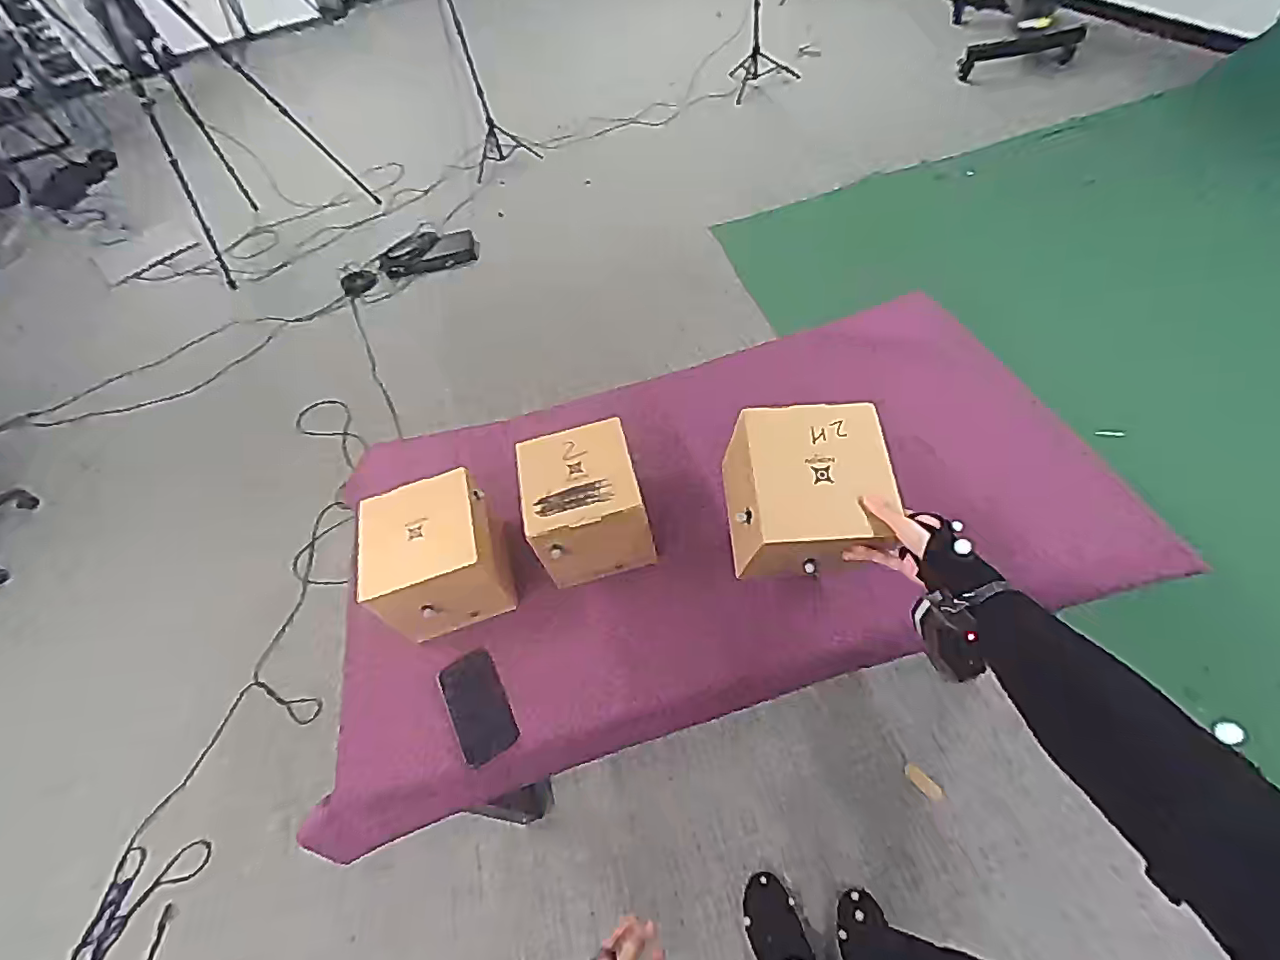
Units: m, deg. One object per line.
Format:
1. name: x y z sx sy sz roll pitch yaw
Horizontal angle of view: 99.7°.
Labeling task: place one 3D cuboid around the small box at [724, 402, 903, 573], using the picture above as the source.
1. small box: 0.208 0.018 0.703 0.168 0.176 0.179 -2 65 -2

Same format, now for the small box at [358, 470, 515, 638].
1. small box: -0.302 0.121 0.822 0.168 0.176 0.179 -19 52 -3
